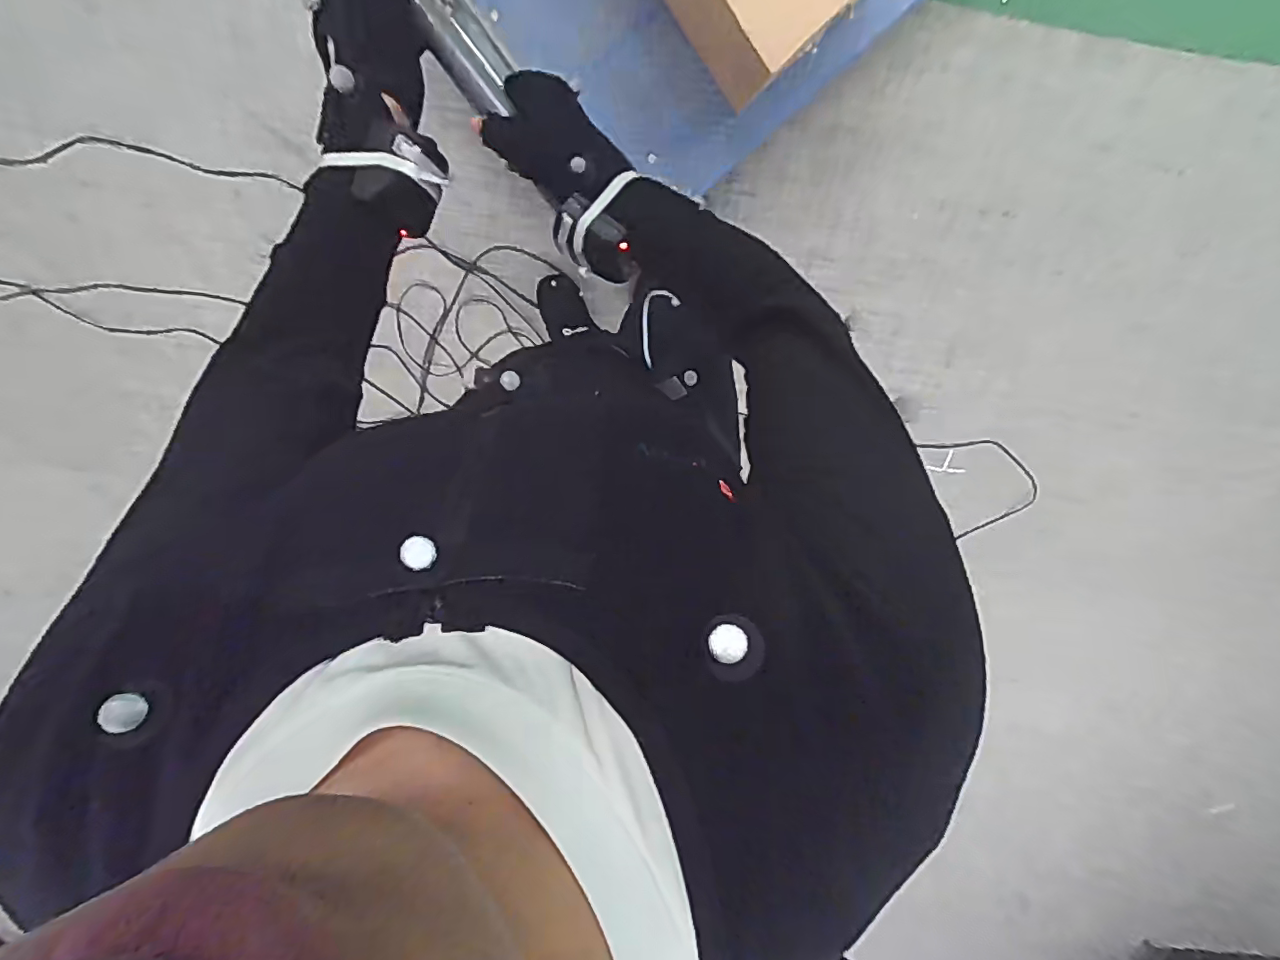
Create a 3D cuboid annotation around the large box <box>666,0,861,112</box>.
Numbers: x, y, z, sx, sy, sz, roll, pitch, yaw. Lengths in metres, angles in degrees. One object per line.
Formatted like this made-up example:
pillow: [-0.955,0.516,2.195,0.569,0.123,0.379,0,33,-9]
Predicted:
large box: [0.177,-0.859,0.797,0.320,0.320,0.408,-38,109,16]
